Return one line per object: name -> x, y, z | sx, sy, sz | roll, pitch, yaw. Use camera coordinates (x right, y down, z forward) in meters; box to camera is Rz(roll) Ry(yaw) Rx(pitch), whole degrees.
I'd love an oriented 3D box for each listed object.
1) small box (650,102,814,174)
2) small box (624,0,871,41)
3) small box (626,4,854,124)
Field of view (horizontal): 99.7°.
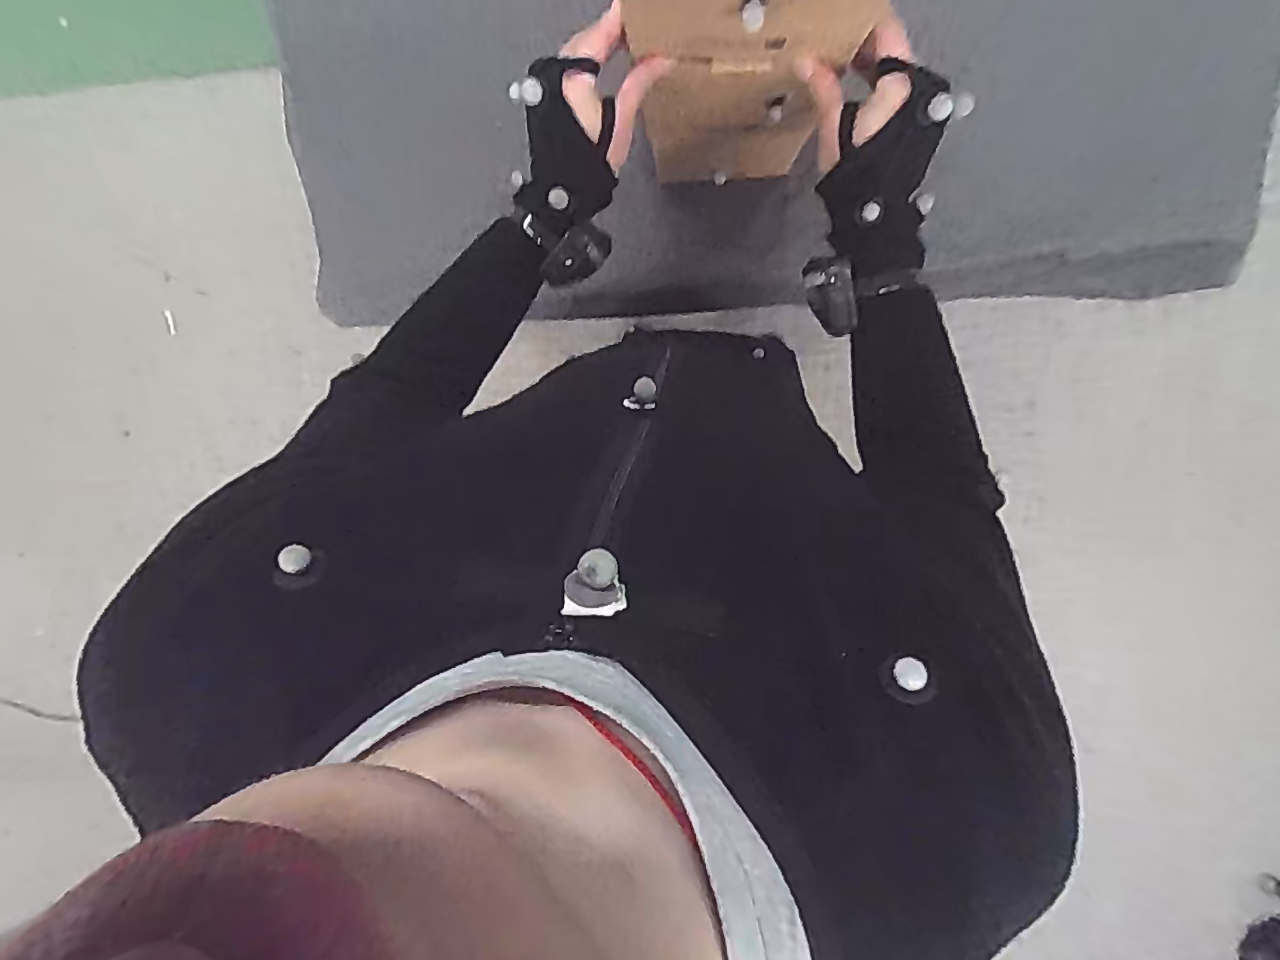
small box -> 0.096, -0.462, 0.598 | 0.168, 0.176, 0.179 | -1, 106, 6
small box -> 0.068, -0.371, 0.287 | 0.168, 0.176, 0.179 | 4, 108, 4
small box -> 0.080, -0.416, 0.444 | 0.168, 0.176, 0.179 | 2, 105, 4
